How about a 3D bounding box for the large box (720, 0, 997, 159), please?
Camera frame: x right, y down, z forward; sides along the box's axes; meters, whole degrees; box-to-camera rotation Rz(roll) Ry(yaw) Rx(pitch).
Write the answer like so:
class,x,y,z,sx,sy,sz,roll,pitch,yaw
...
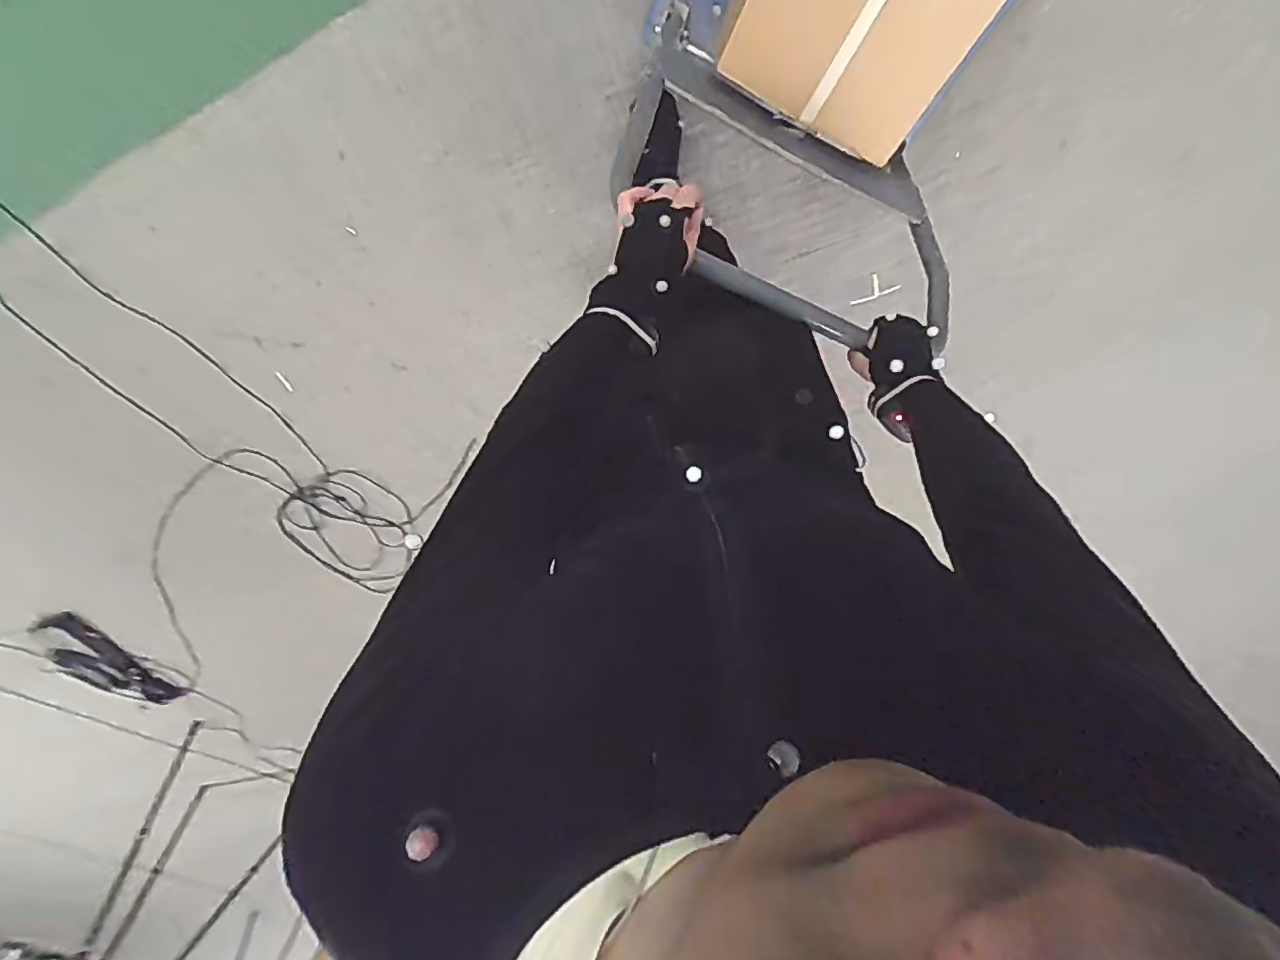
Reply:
class,x,y,z,sx,sy,sz,roll,pitch,yaw
large box,0.348,-0.790,0.800,0.320,0.320,0.408,21,137,-13
